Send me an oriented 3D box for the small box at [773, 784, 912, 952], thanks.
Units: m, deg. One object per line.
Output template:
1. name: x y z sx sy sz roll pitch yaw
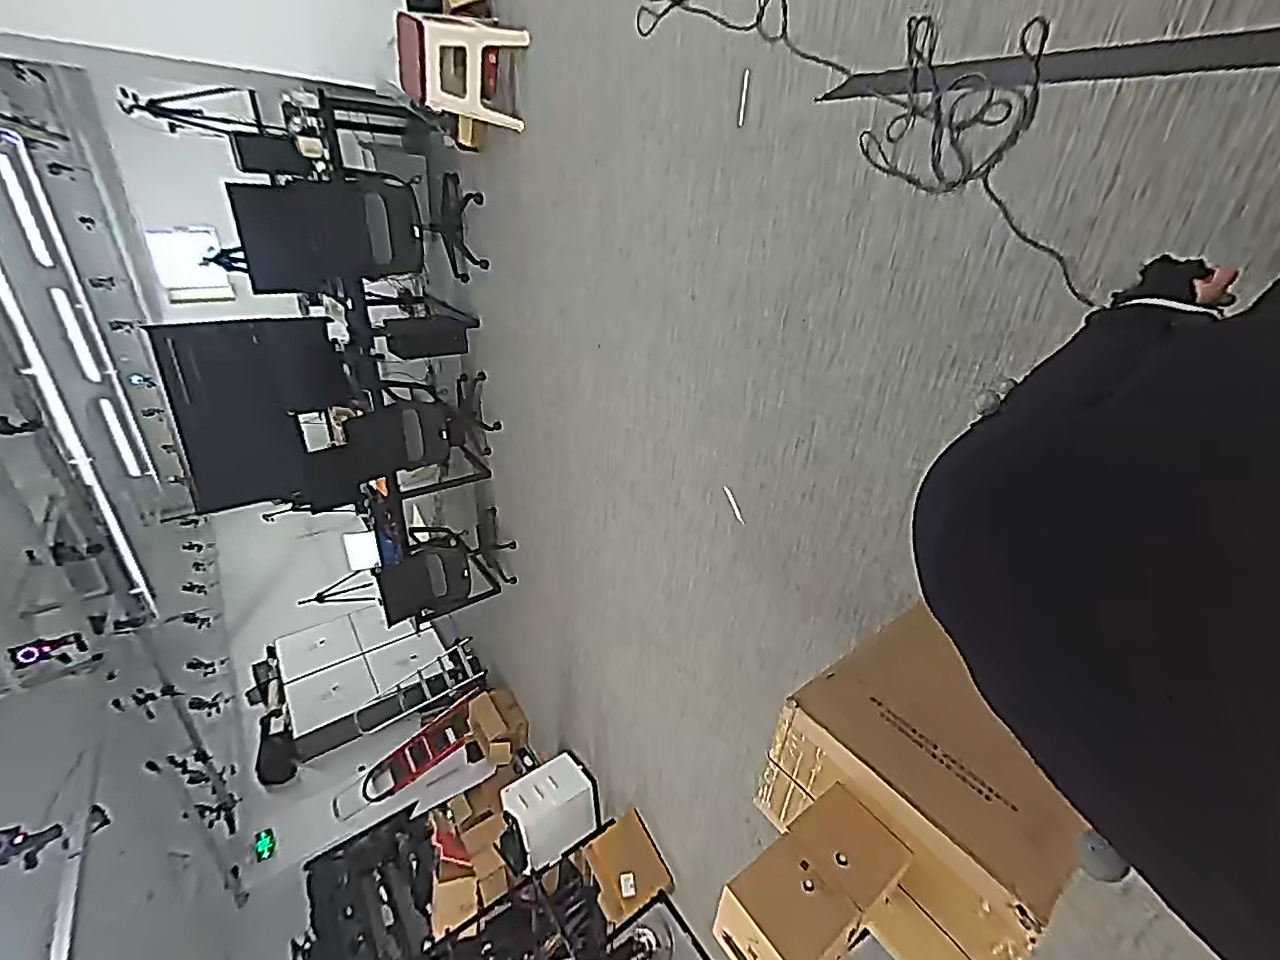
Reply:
1. small box: 0.395 0.748 1.061 0.179 0.176 0.168 36 132 44
